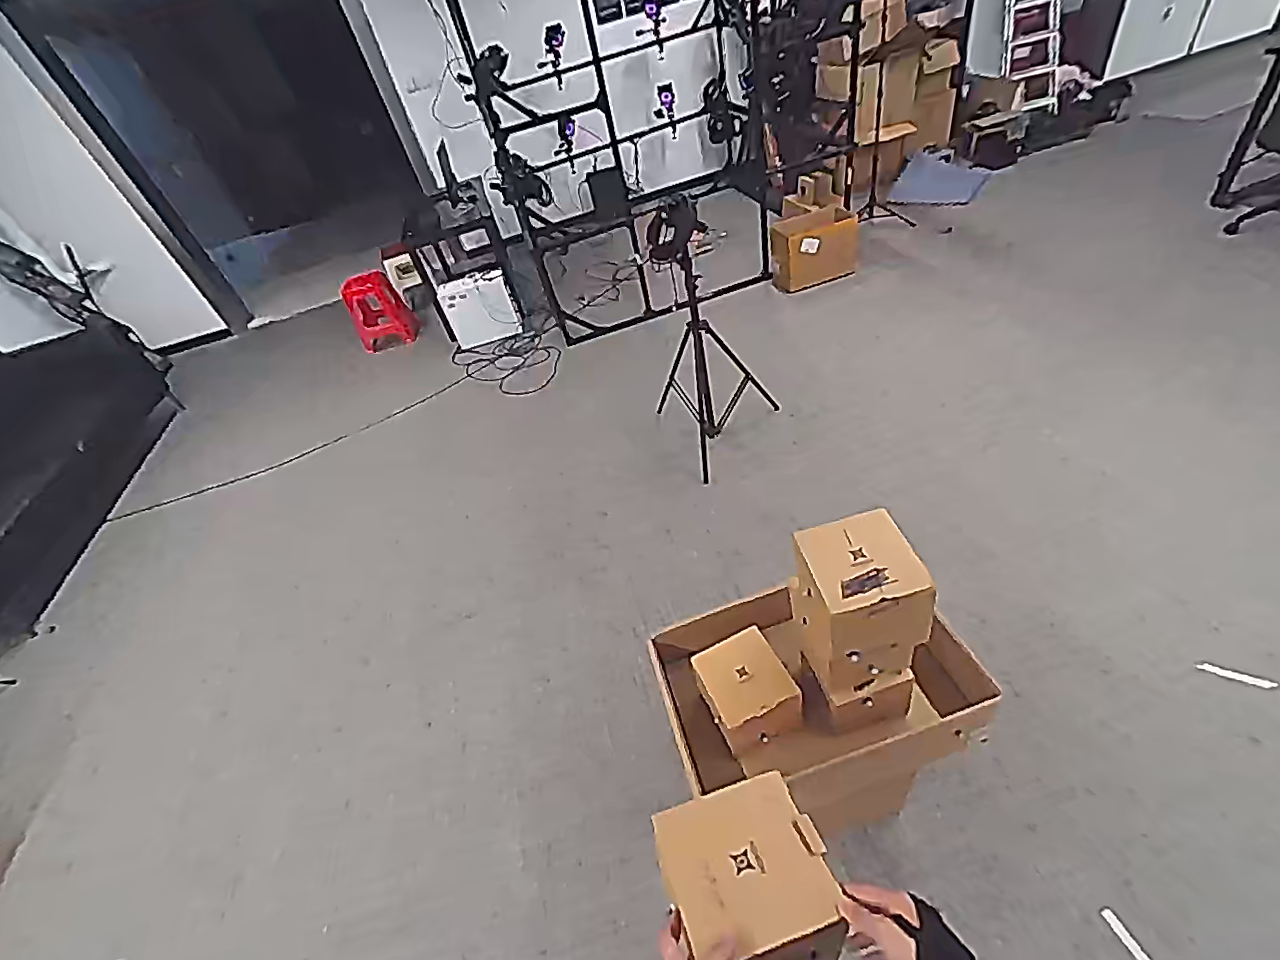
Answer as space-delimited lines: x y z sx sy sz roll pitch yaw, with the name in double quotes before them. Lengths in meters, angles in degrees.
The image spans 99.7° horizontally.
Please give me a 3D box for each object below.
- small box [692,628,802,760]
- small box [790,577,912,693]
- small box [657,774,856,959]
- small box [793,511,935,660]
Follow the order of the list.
"small box" 0.231 0.465 1.172 0.168 0.176 0.179 -24 43 -9
"small box" 0.410 0.283 1.063 0.168 0.176 0.179 -20 42 1
"small box" 0.127 0.502 0.656 0.179 0.176 0.168 -13 33 -12
"small box" 0.377 0.188 0.928 0.168 0.176 0.179 -17 42 4
